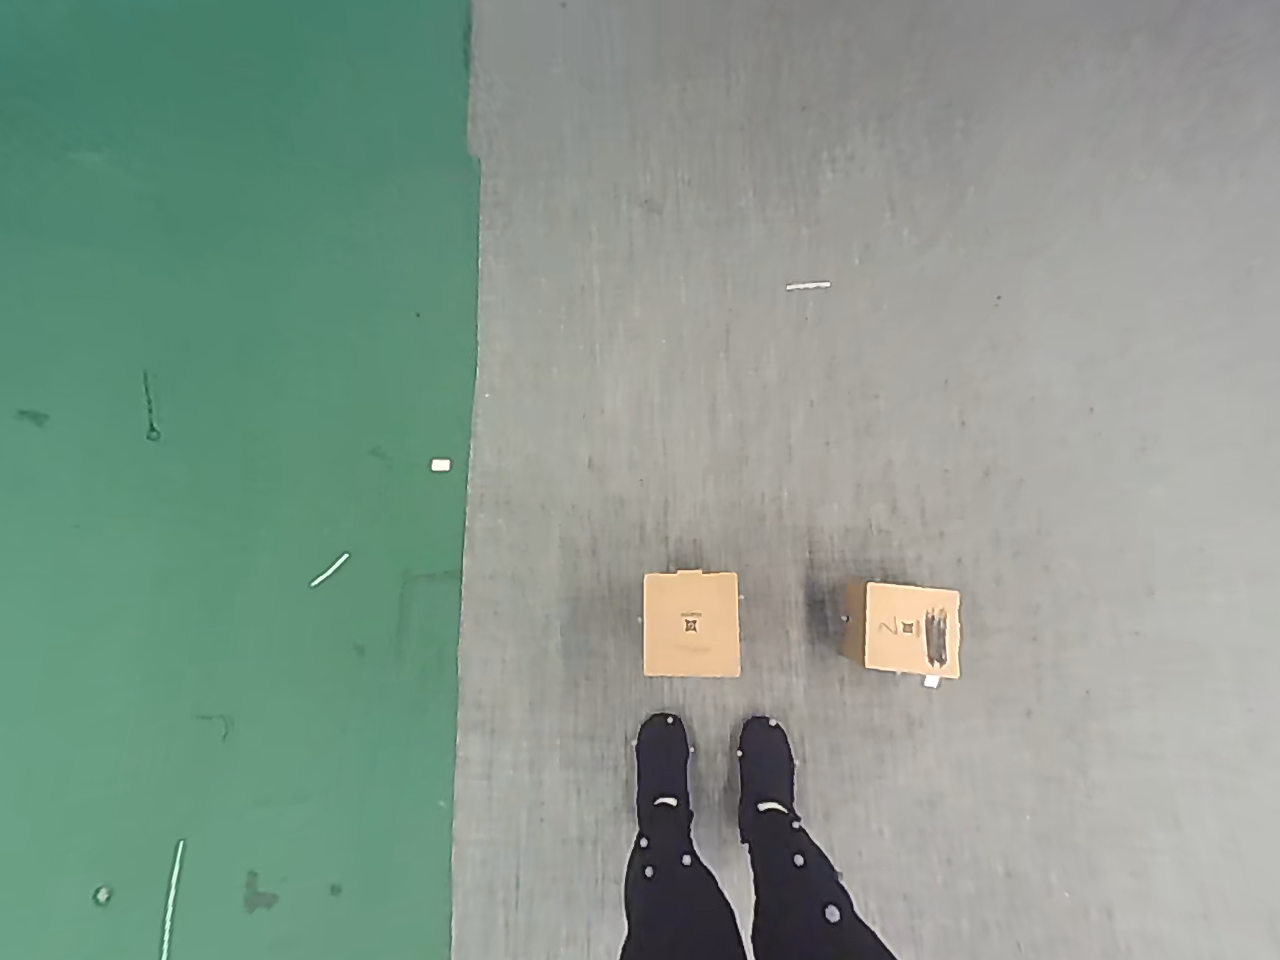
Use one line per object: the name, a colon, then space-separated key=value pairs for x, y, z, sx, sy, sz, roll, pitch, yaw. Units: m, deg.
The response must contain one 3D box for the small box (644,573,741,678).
small box: x=0.097 y=0.264 z=1.009 sx=0.168 sy=0.176 sz=0.179 roll=-2 pitch=80 yaw=7
